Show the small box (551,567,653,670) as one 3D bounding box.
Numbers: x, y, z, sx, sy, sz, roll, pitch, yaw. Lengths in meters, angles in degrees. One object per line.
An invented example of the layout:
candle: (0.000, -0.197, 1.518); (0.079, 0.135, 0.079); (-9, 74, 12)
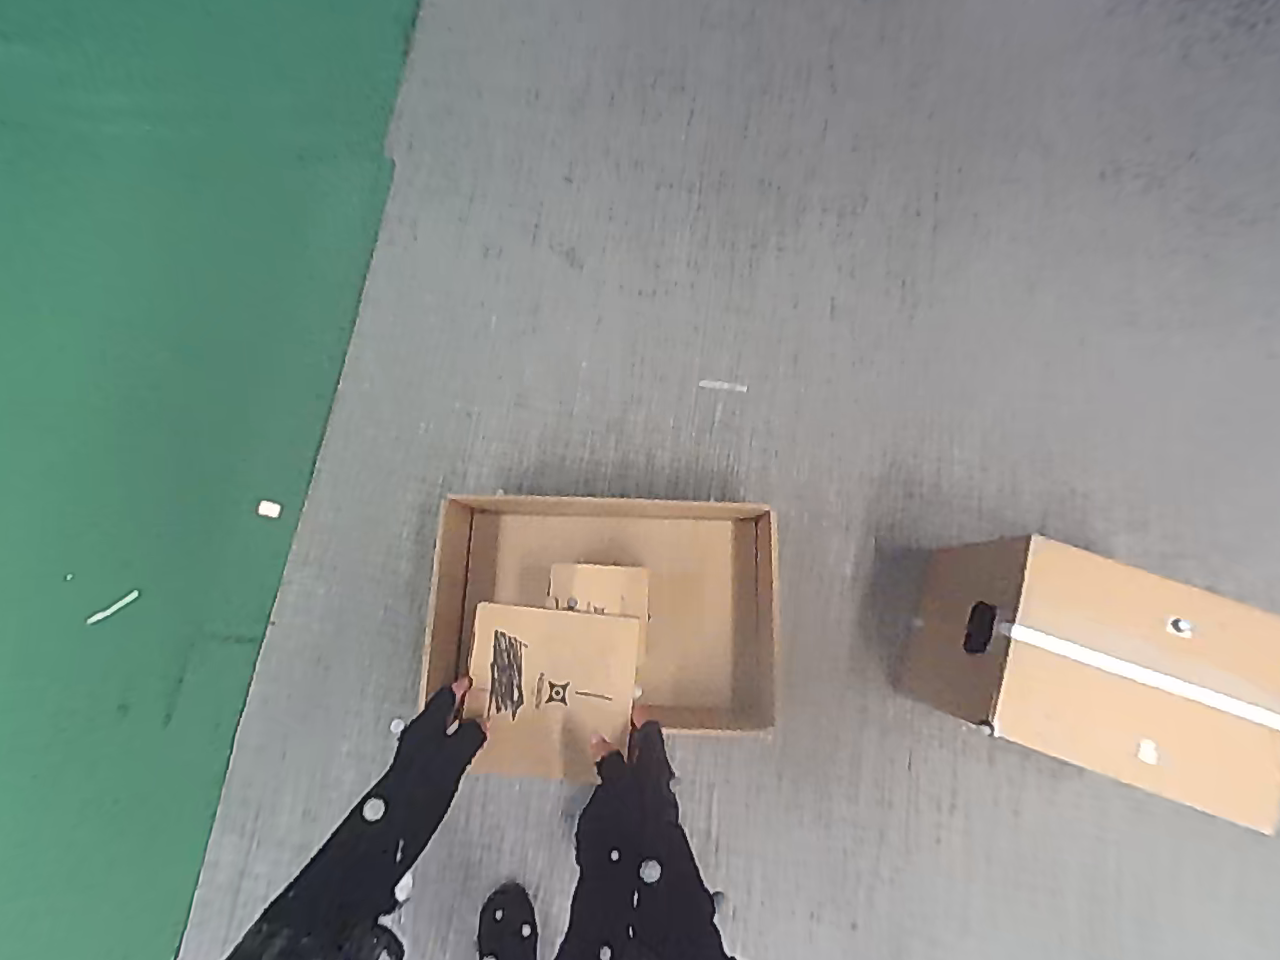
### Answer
small box: (-0.067, 0.255, 1.011); (0.179, 0.176, 0.168); (3, 78, 1)

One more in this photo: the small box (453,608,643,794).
small box: (-0.095, 0.245, 0.631); (0.179, 0.176, 0.168); (6, 75, -2)
